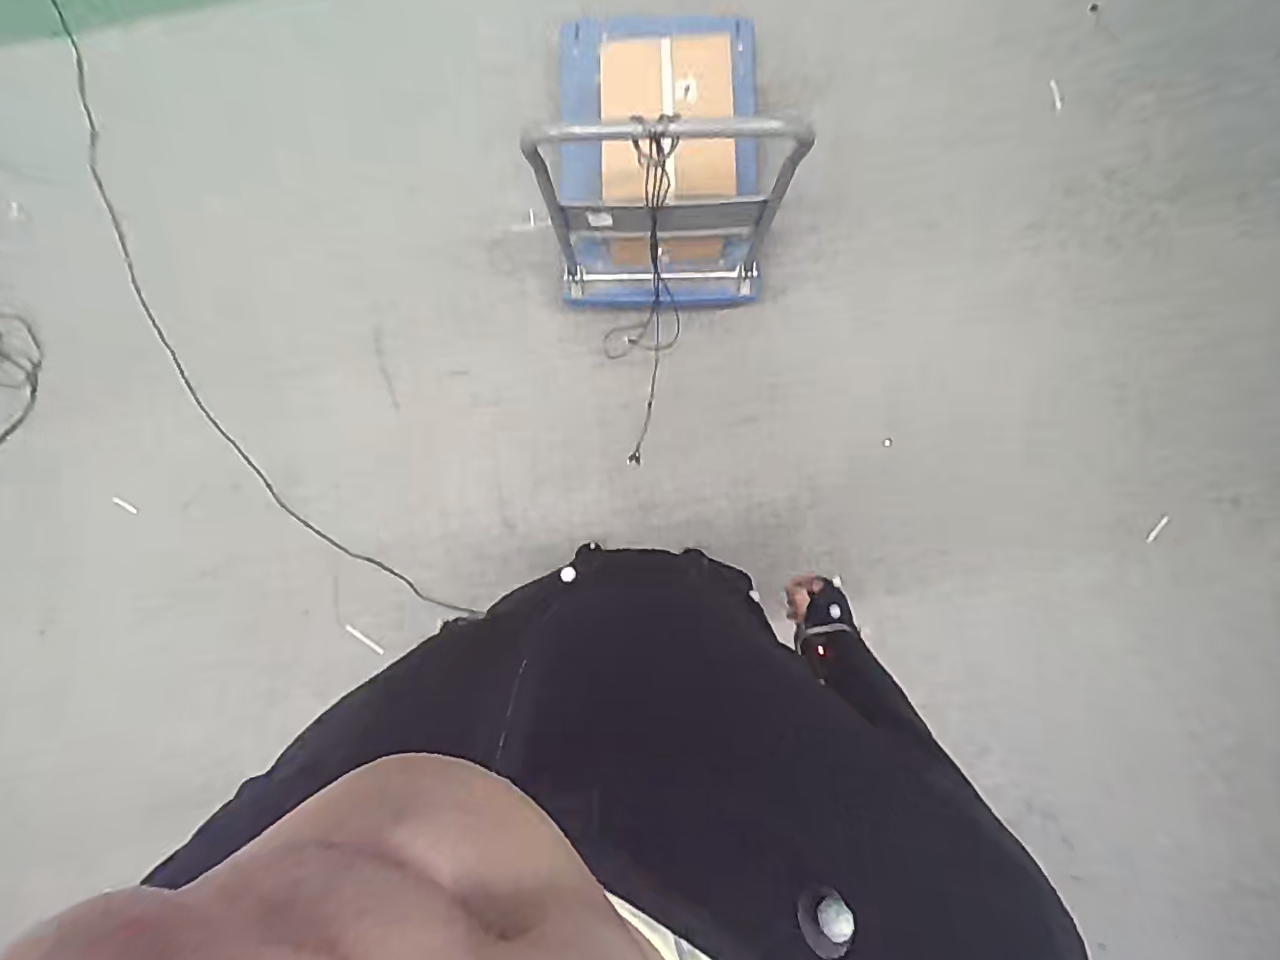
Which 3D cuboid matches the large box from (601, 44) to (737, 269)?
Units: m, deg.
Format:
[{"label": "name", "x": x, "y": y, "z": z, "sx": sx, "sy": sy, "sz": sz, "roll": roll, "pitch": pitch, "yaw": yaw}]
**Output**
[{"label": "large box", "x": 0.071, "y": -0.816, "z": 1.411, "sx": 0.320, "sy": 0.320, "sz": 0.408, "roll": -1, "pitch": 84, "yaw": 1}]
